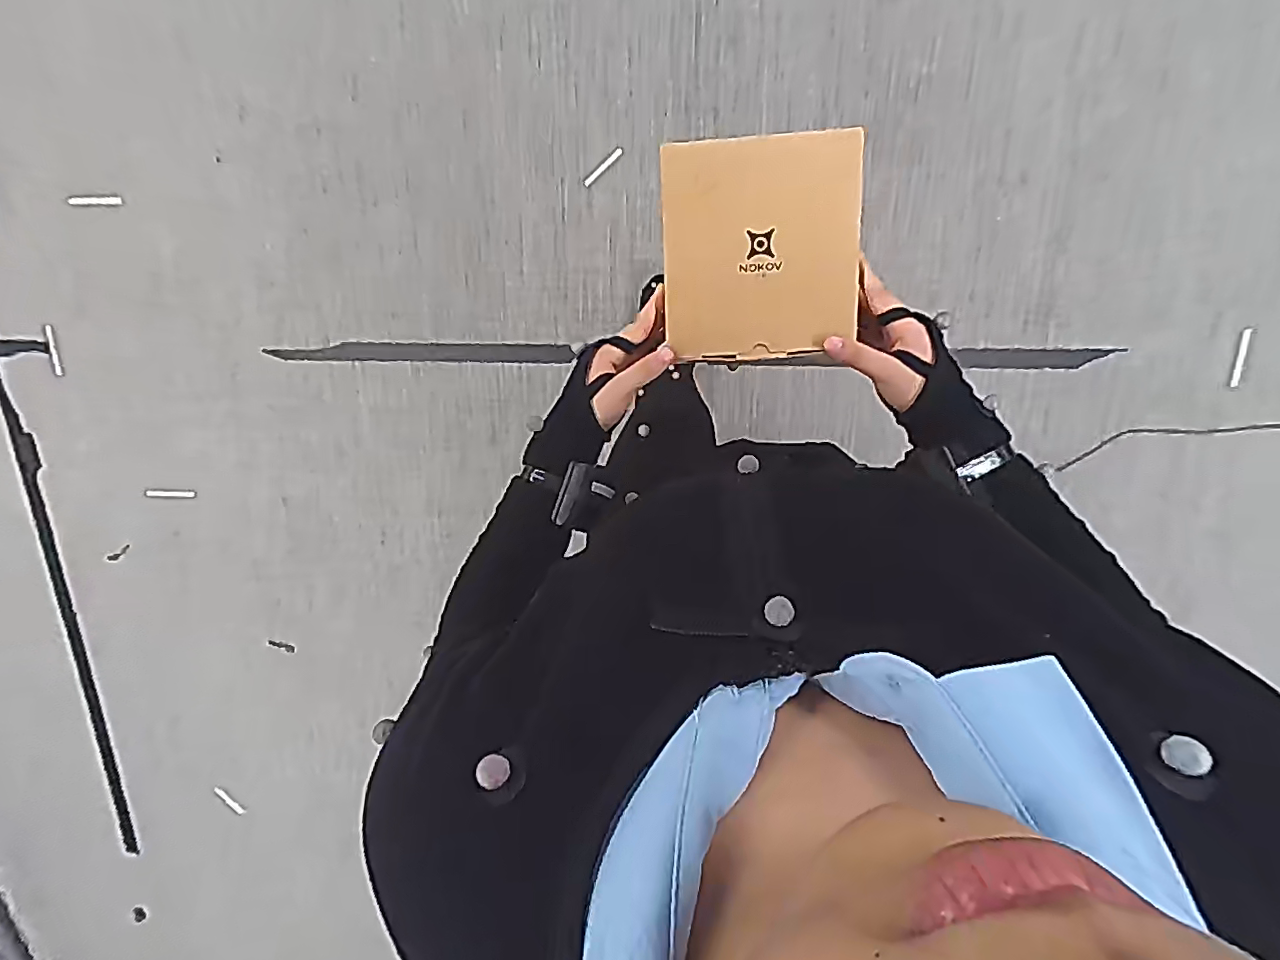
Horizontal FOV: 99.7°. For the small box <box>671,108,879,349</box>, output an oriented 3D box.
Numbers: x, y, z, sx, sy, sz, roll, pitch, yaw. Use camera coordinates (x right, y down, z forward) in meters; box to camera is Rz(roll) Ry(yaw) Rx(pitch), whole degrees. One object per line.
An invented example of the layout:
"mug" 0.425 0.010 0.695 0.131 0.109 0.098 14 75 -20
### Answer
"small box" 0.115 -0.222 0.523 0.168 0.176 0.179 -2 103 4
